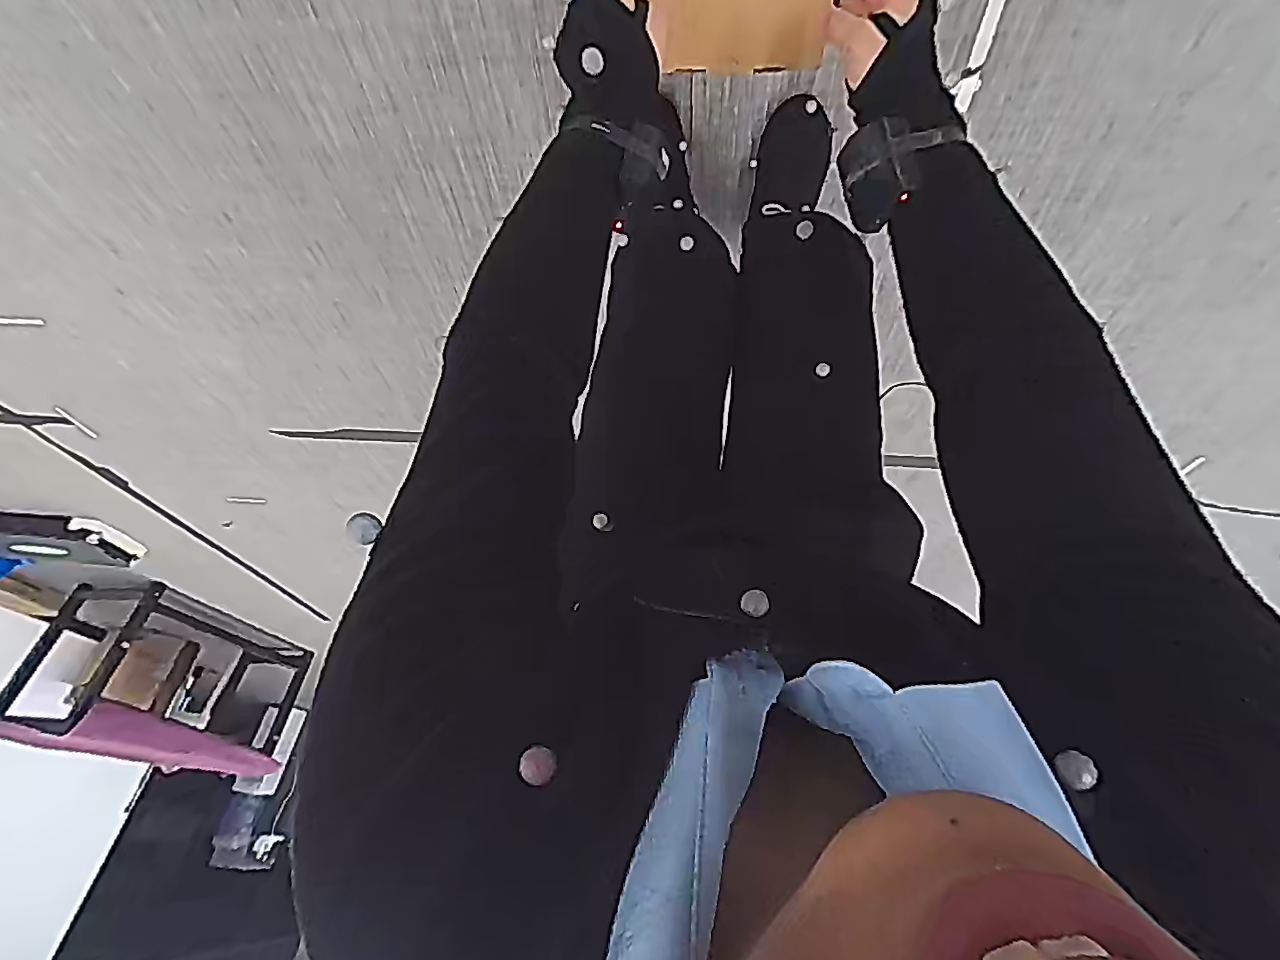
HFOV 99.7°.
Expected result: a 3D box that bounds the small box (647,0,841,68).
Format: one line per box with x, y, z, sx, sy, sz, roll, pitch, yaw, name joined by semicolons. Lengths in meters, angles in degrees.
0.092;-0.493;0.470;0.168;0.176;0.179;3;145;5;small box
